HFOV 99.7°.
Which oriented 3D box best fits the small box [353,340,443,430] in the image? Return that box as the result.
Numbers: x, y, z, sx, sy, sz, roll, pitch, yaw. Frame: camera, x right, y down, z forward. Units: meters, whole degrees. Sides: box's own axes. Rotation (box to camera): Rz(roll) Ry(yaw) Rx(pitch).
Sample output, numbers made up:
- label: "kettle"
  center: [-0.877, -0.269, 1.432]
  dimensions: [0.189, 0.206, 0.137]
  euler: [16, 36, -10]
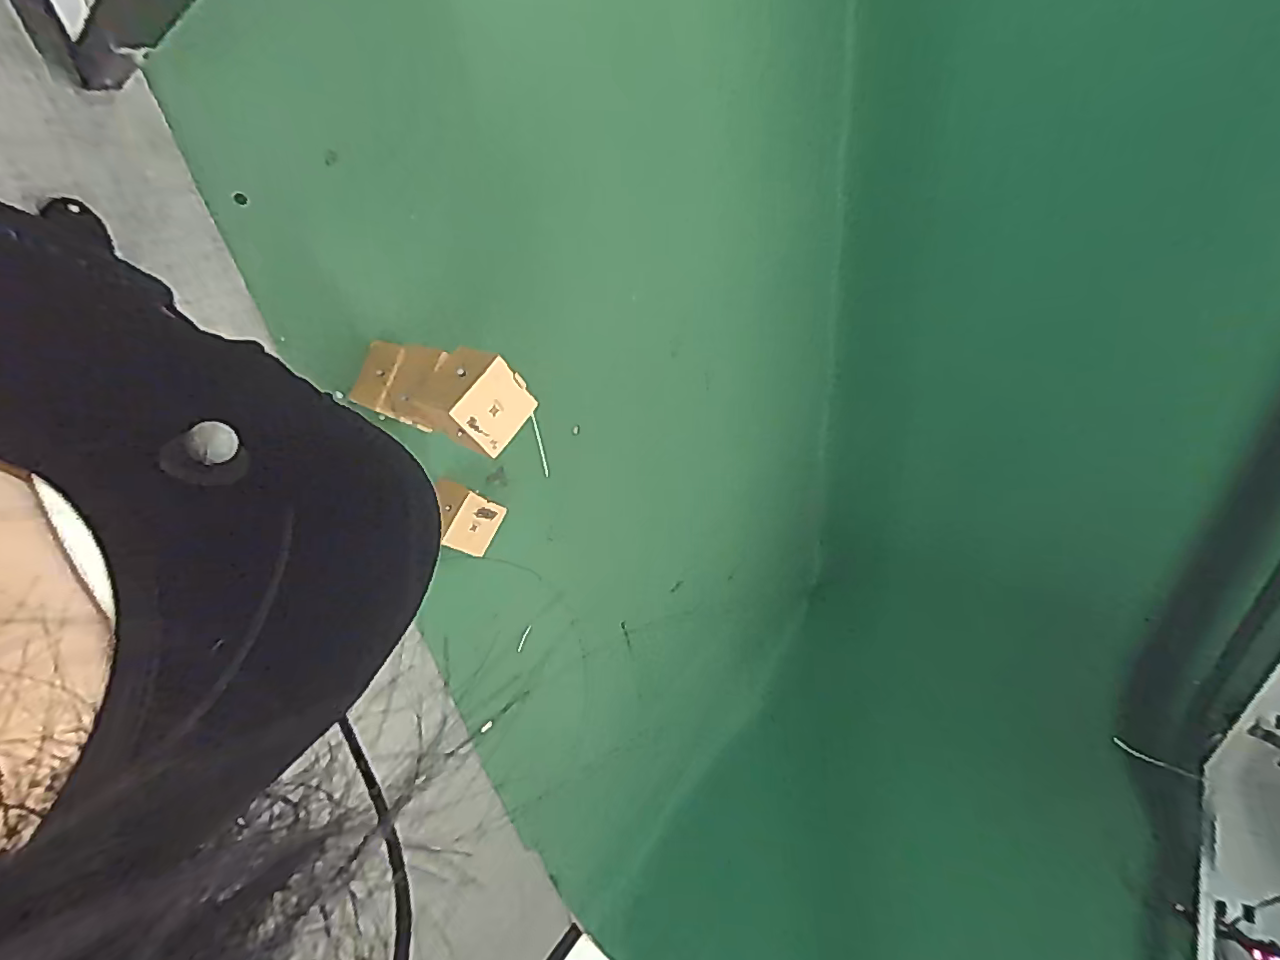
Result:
- label: "small box"
  center: [-0.636, -0.255, 1.449]
  dimensions: [0.168, 0.176, 0.179]
  euler: [26, 84, -52]

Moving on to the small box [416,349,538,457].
- label: "small box"
  center: [-0.380, -0.184, 1.256]
  dimensions: [0.179, 0.176, 0.168]
  euler: [-56, 140, -18]

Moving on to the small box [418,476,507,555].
- label: "small box"
  center: [-0.562, 0.108, 1.696]
  dimensions: [0.168, 0.176, 0.179]
  euler: [37, 77, -51]
